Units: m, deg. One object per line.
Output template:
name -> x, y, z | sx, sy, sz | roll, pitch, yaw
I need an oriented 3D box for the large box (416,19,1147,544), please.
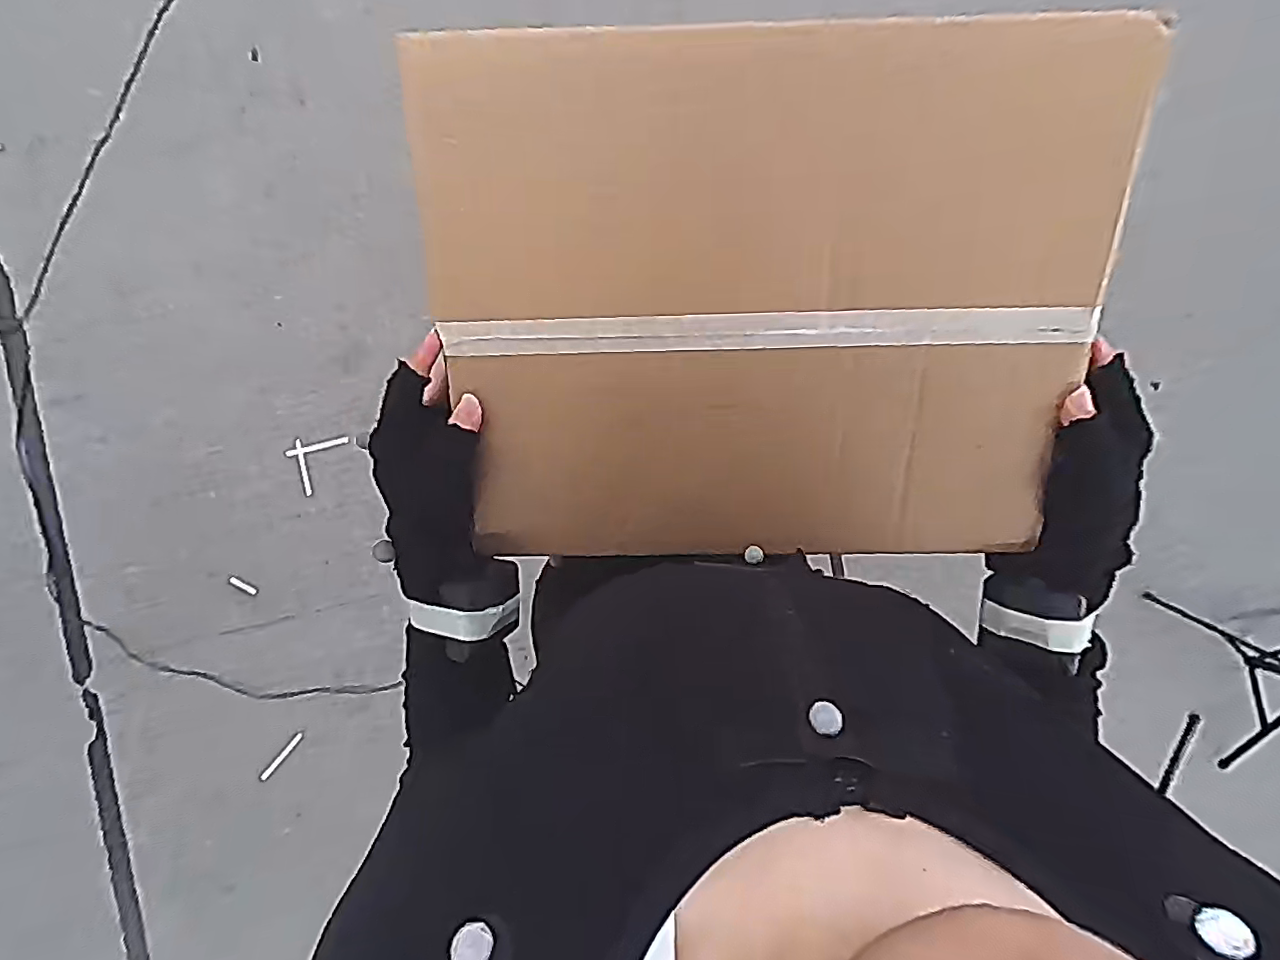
large box -> 0.078, -0.152, 0.484 | 0.408, 0.320, 0.320 | 0, 112, 1
